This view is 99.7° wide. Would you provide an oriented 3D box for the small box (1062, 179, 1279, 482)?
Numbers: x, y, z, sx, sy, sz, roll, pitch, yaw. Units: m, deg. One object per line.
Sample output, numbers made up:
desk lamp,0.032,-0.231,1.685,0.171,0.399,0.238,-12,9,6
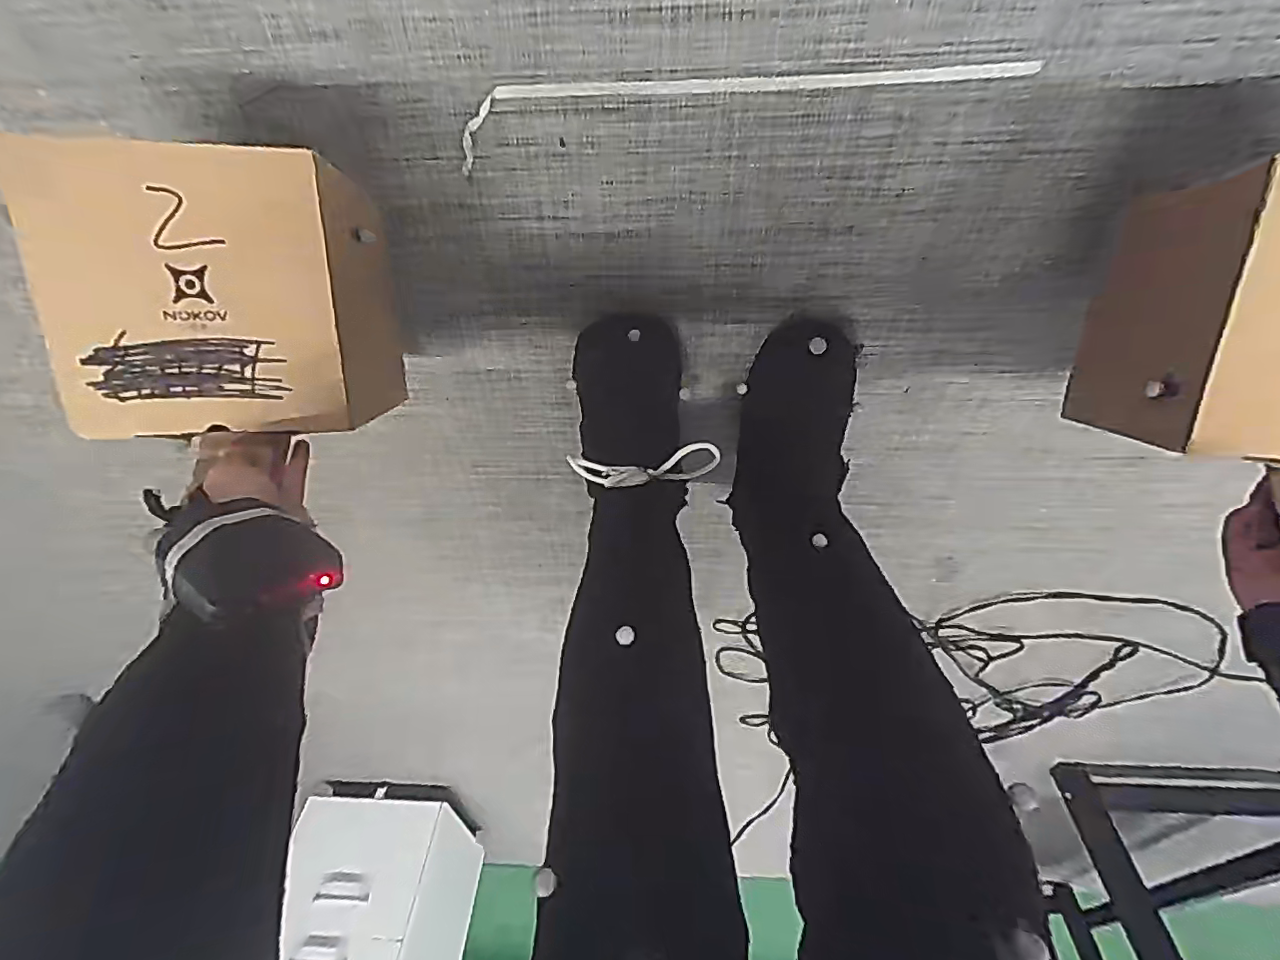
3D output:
small box,0.442,-0.101,0.378,0.168,0.176,0.179,6,109,12
